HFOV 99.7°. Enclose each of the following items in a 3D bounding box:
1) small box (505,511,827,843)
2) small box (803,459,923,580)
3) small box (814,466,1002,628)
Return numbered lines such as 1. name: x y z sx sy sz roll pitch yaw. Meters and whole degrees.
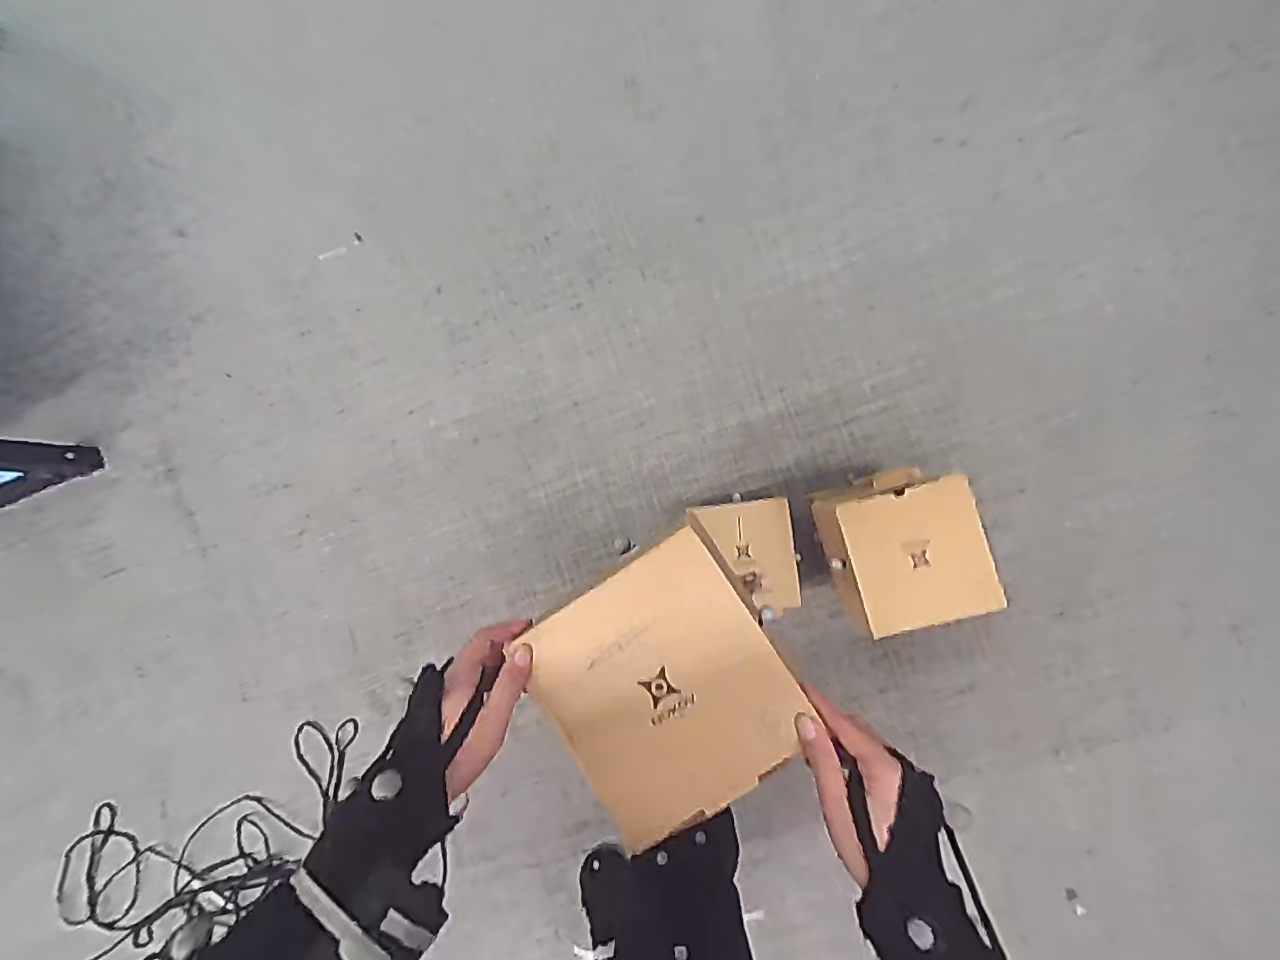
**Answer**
1. small box: 0.024 0.141 0.456 0.168 0.176 0.179 -35 87 5
2. small box: 0.389 0.076 0.921 0.168 0.176 0.179 -16 85 7
3. small box: 0.359 0.087 0.760 0.168 0.176 0.179 -16 85 7
